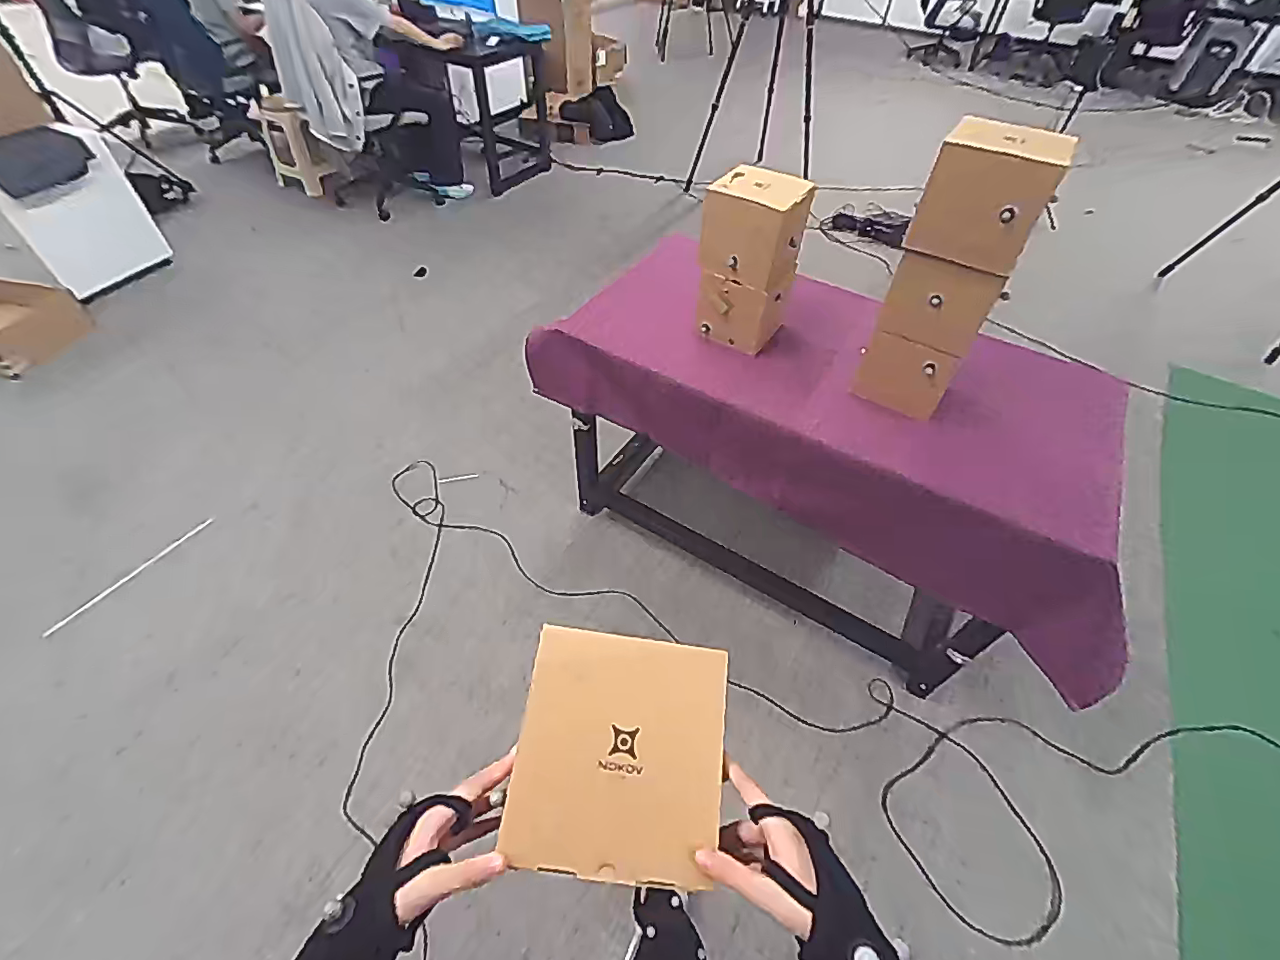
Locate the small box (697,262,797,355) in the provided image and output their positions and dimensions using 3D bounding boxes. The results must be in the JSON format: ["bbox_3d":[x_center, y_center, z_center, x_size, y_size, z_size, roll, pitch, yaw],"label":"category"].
[{"bbox_3d":[0.246,-0.422,1.275,0.168,0.176,0.179,27,53,19],"label":"small box"}]

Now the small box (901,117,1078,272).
[{"bbox_3d":[0.568,-0.467,0.892,0.179,0.176,0.168,28,53,20],"label":"small box"}]

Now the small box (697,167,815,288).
[{"bbox_3d":[0.241,-0.534,1.153,0.179,0.176,0.168,29,53,19],"label":"small box"}]

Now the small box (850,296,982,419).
[{"bbox_3d":[0.576,-0.254,1.142,0.179,0.176,0.168,28,53,20],"label":"small box"}]
